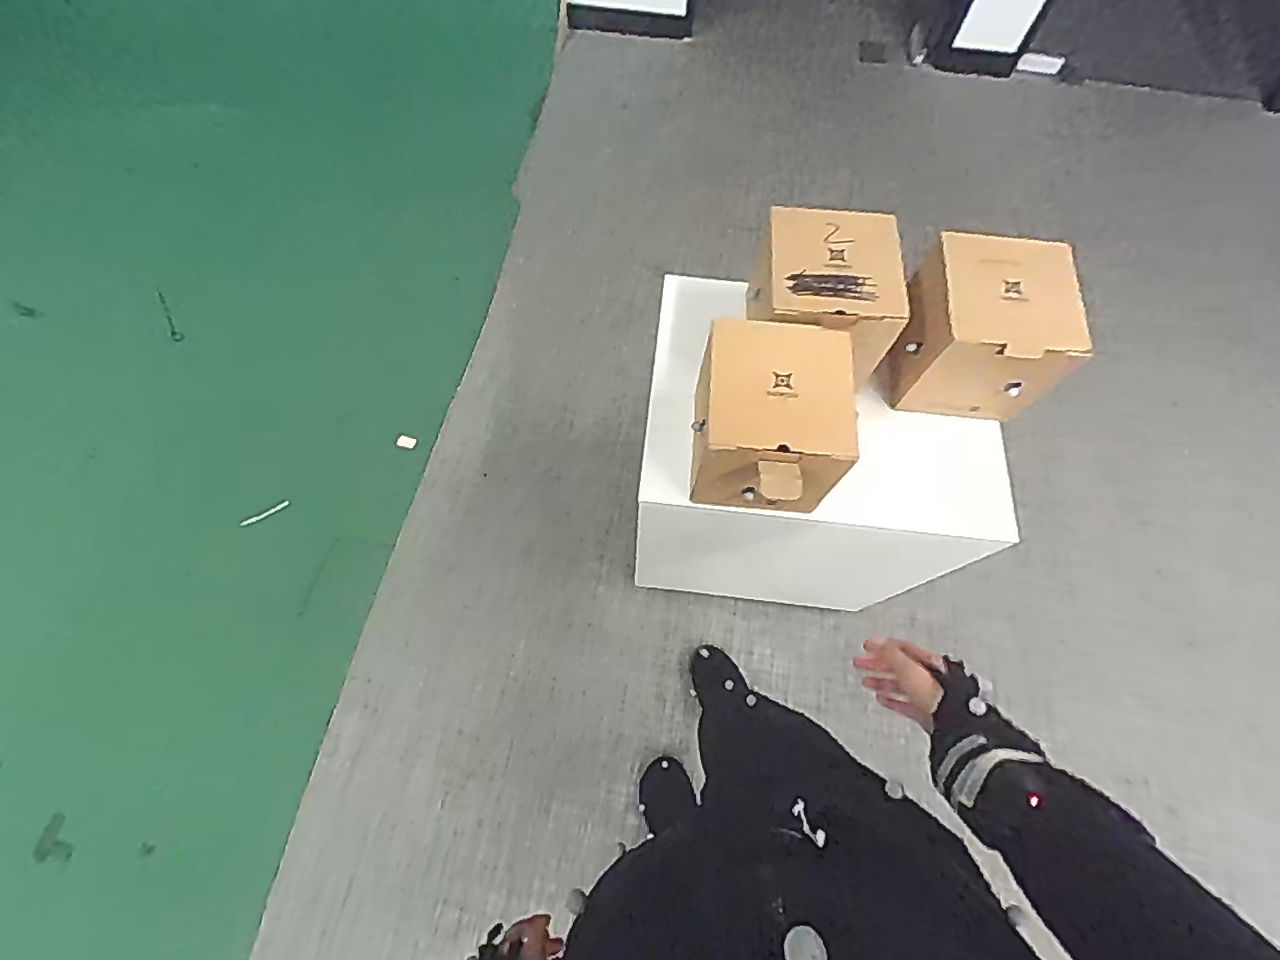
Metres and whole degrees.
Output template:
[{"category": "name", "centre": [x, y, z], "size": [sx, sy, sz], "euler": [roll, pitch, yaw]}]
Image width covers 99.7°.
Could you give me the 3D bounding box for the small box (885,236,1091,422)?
[{"category": "small box", "centre": [0.454, -0.197, 0.738], "size": [0.168, 0.176, 0.179], "euler": [6, 67, 1]}]

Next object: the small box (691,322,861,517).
[{"category": "small box", "centre": [0.156, -0.069, 0.678], "size": [0.168, 0.176, 0.179], "euler": [5, 66, 0]}]
